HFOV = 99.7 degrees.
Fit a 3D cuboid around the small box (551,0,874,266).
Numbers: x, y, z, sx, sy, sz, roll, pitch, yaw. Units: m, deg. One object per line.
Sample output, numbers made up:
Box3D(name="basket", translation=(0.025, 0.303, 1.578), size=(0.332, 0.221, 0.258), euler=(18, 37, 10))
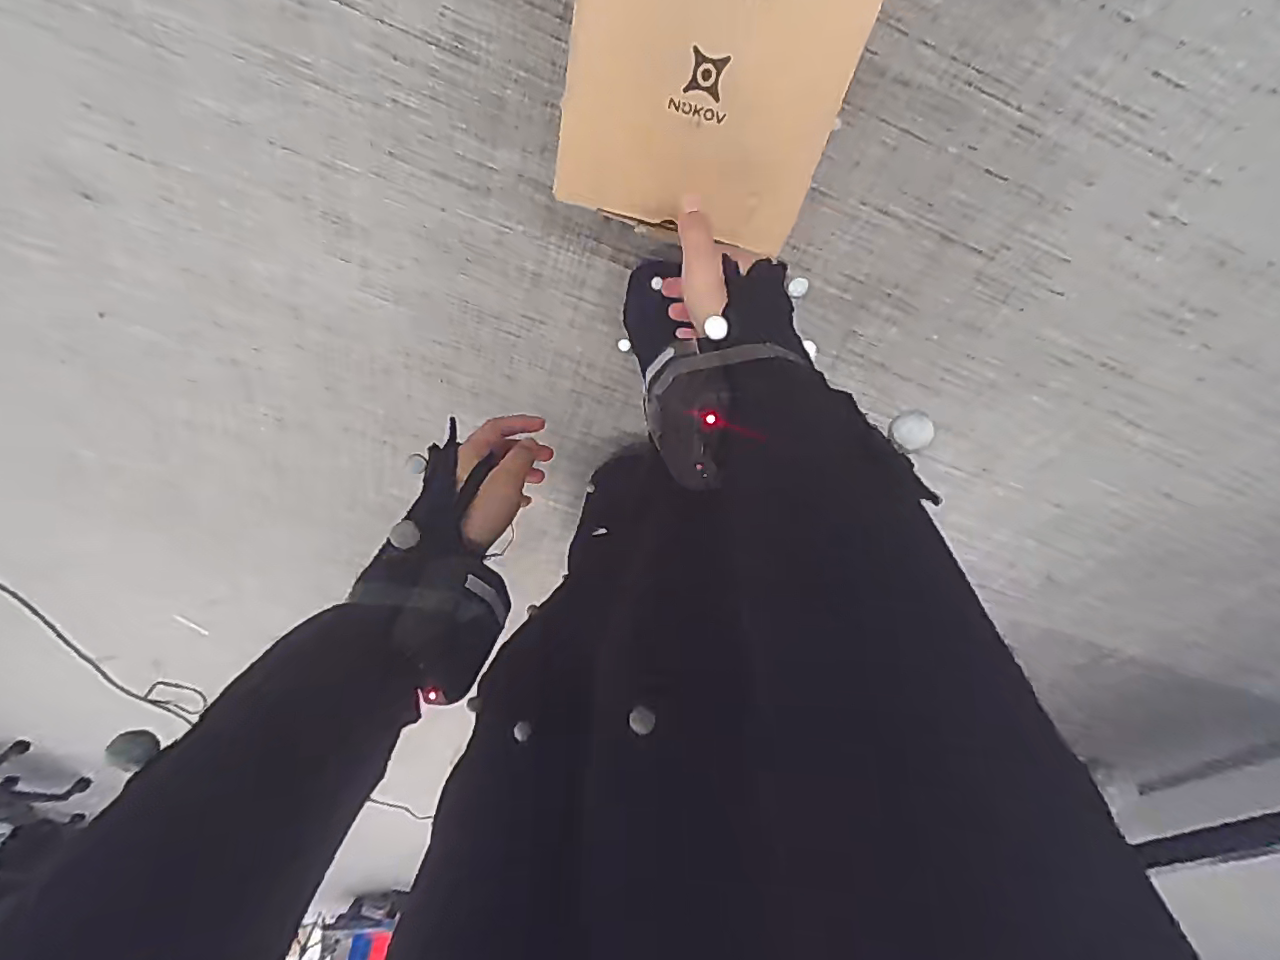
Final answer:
Box3D(name="small box", translation=(0.042, -0.287, 0.389), size=(0.168, 0.176, 0.179), euler=(13, 131, -5))
